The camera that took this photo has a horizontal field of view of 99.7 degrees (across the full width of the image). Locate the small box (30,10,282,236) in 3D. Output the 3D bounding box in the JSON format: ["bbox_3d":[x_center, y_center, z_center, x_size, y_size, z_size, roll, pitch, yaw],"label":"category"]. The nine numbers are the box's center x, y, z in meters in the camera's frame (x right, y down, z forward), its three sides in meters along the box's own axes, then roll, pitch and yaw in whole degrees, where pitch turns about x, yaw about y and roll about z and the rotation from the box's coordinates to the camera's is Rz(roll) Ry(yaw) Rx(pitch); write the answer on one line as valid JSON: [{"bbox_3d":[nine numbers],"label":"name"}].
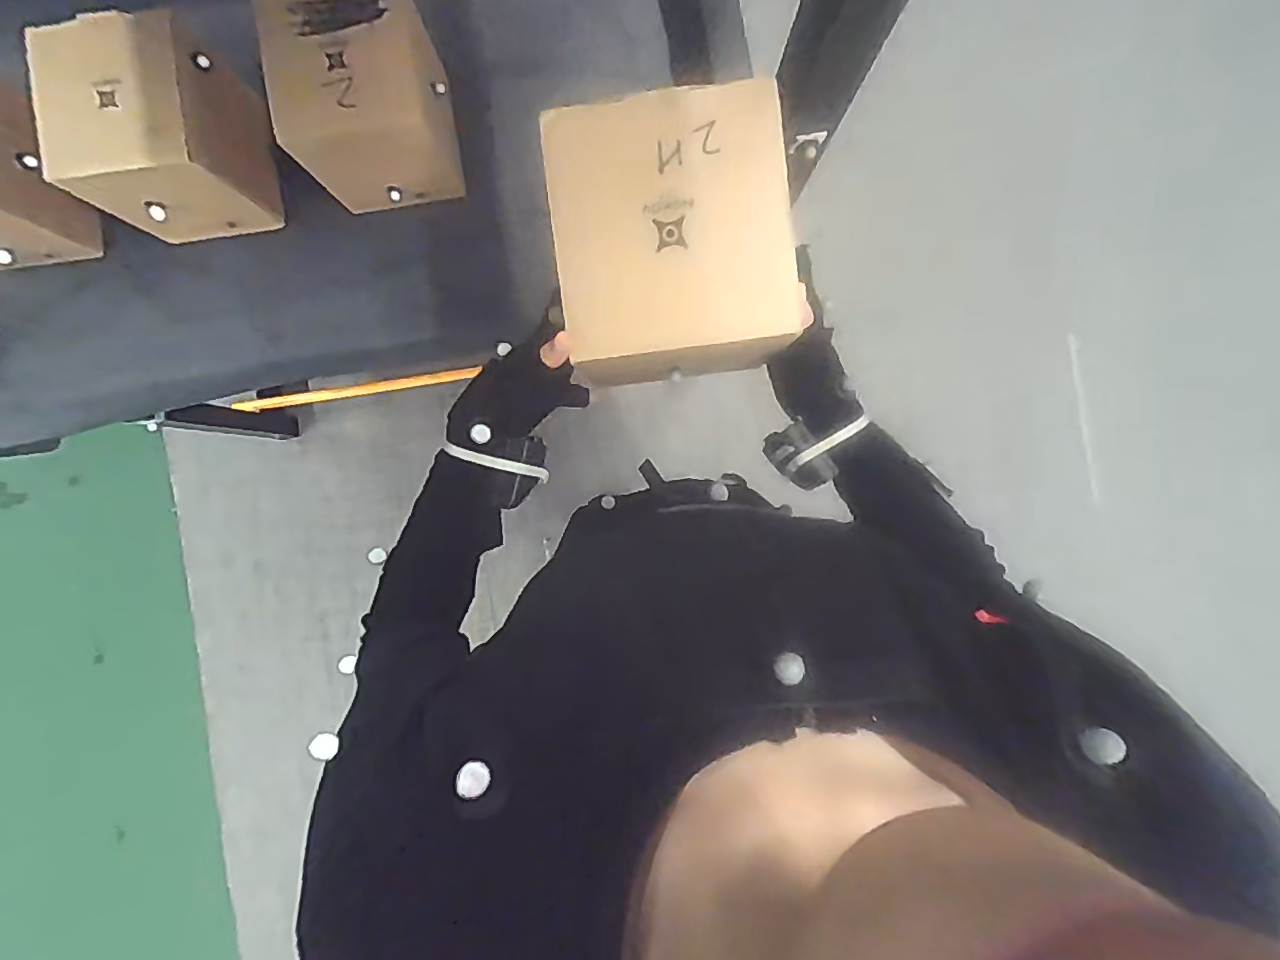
[{"bbox_3d":[-0.590,-0.429,0.685,0.168,0.176,0.179,-8,89,0],"label":"small box"}]

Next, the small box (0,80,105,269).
[{"bbox_3d":[-0.840,-0.392,0.681,0.168,0.176,0.179,-8,90,0],"label":"small box"}]
